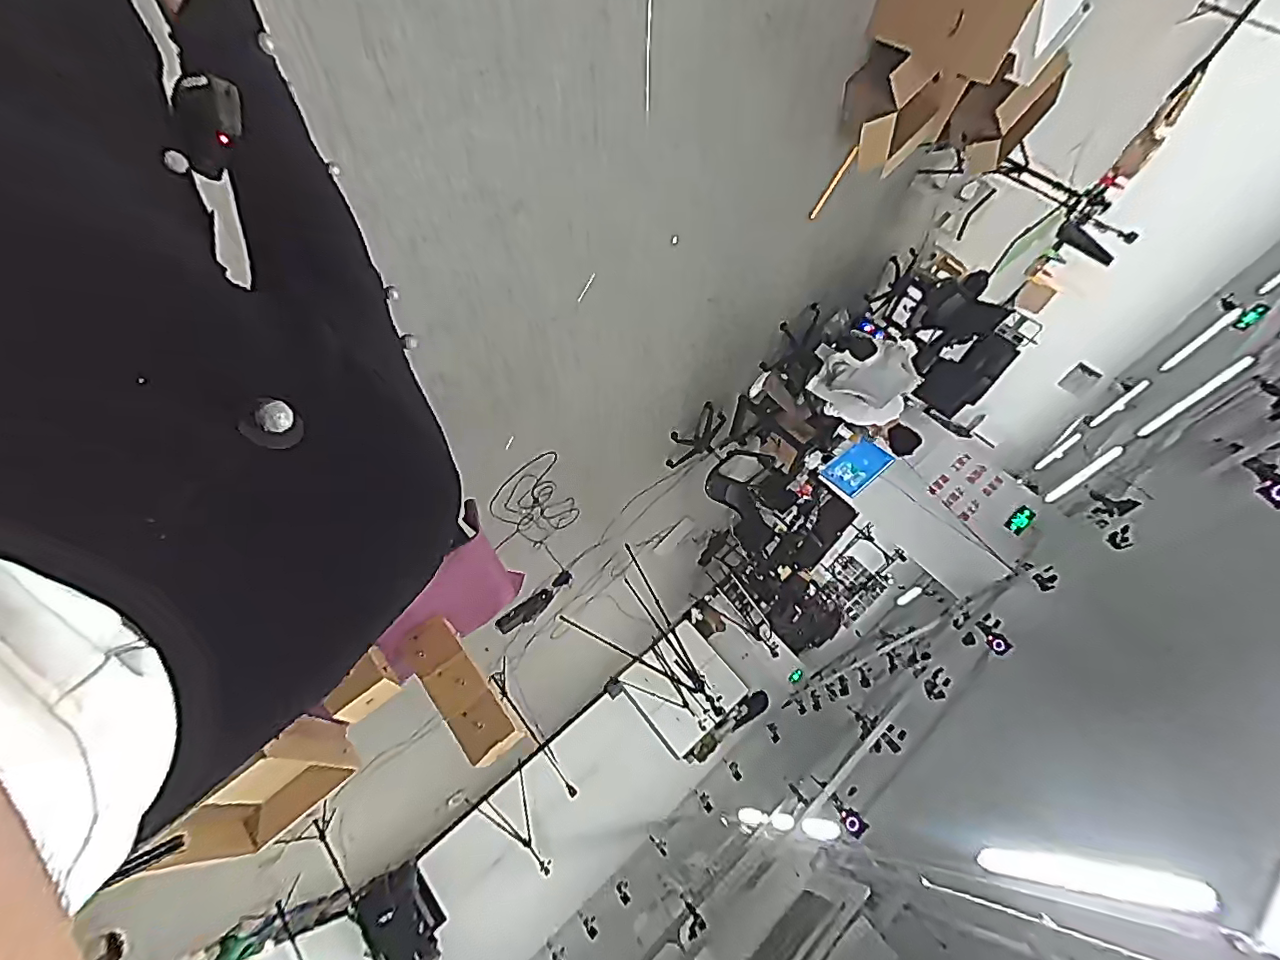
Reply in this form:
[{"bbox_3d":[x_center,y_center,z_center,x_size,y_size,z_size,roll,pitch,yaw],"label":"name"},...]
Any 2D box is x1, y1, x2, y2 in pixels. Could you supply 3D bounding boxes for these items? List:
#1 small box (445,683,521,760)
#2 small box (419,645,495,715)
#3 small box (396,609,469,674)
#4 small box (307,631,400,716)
[{"bbox_3d":[-0.528,0.809,1.814,0.168,0.176,0.179,-35,157,-19],"label":"small box"},{"bbox_3d":[-0.633,0.695,1.869,0.168,0.176,0.179,-36,158,-19],"label":"small box"},{"bbox_3d":[-0.738,0.588,1.930,0.168,0.176,0.179,-35,158,-20],"label":"small box"},{"bbox_3d":[-0.882,0.592,1.664,0.168,0.176,0.179,-35,159,-21],"label":"small box"}]
